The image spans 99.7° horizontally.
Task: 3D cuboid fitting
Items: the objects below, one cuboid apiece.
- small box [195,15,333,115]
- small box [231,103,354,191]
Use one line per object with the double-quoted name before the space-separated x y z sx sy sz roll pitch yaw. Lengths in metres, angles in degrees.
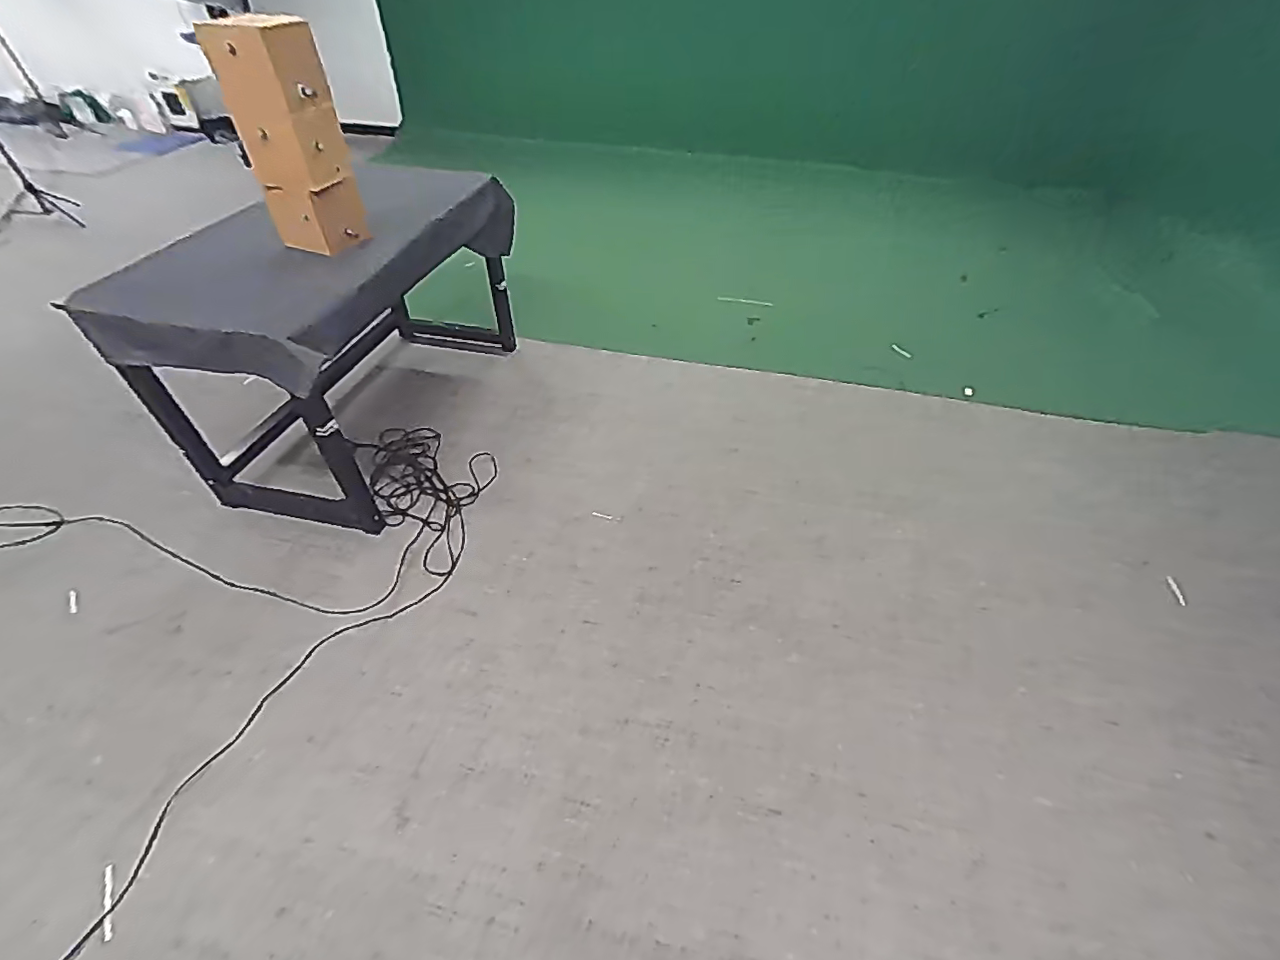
"small box" -0.881 -0.987 1.288 0.179 0.176 0.168 11 47 8
"small box" -0.884 -0.867 1.398 0.179 0.176 0.168 11 46 10
